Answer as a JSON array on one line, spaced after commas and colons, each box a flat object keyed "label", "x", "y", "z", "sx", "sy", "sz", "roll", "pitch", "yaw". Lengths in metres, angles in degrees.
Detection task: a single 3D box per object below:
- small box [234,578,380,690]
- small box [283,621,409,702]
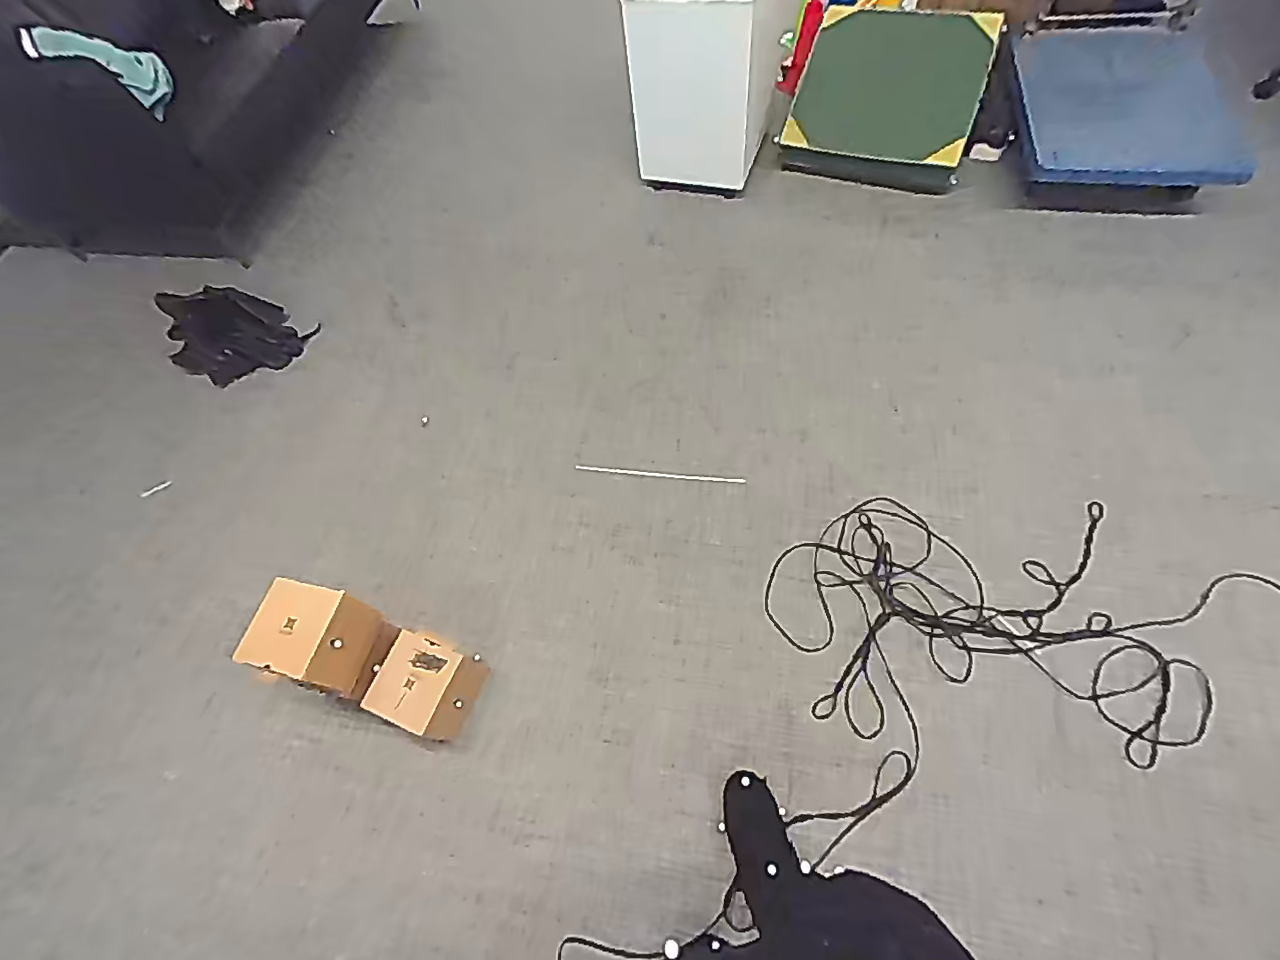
[{"label": "small box", "x": -0.684, "y": 0.328, "z": 1.141, "sx": 0.168, "sy": 0.176, "sz": 0.179, "roll": 9, "pitch": 64, "yaw": 11}, {"label": "small box", "x": -0.682, "y": 0.416, "z": 1.279, "sx": 0.168, "sy": 0.176, "sz": 0.179, "roll": 9, "pitch": 64, "yaw": 12}]
